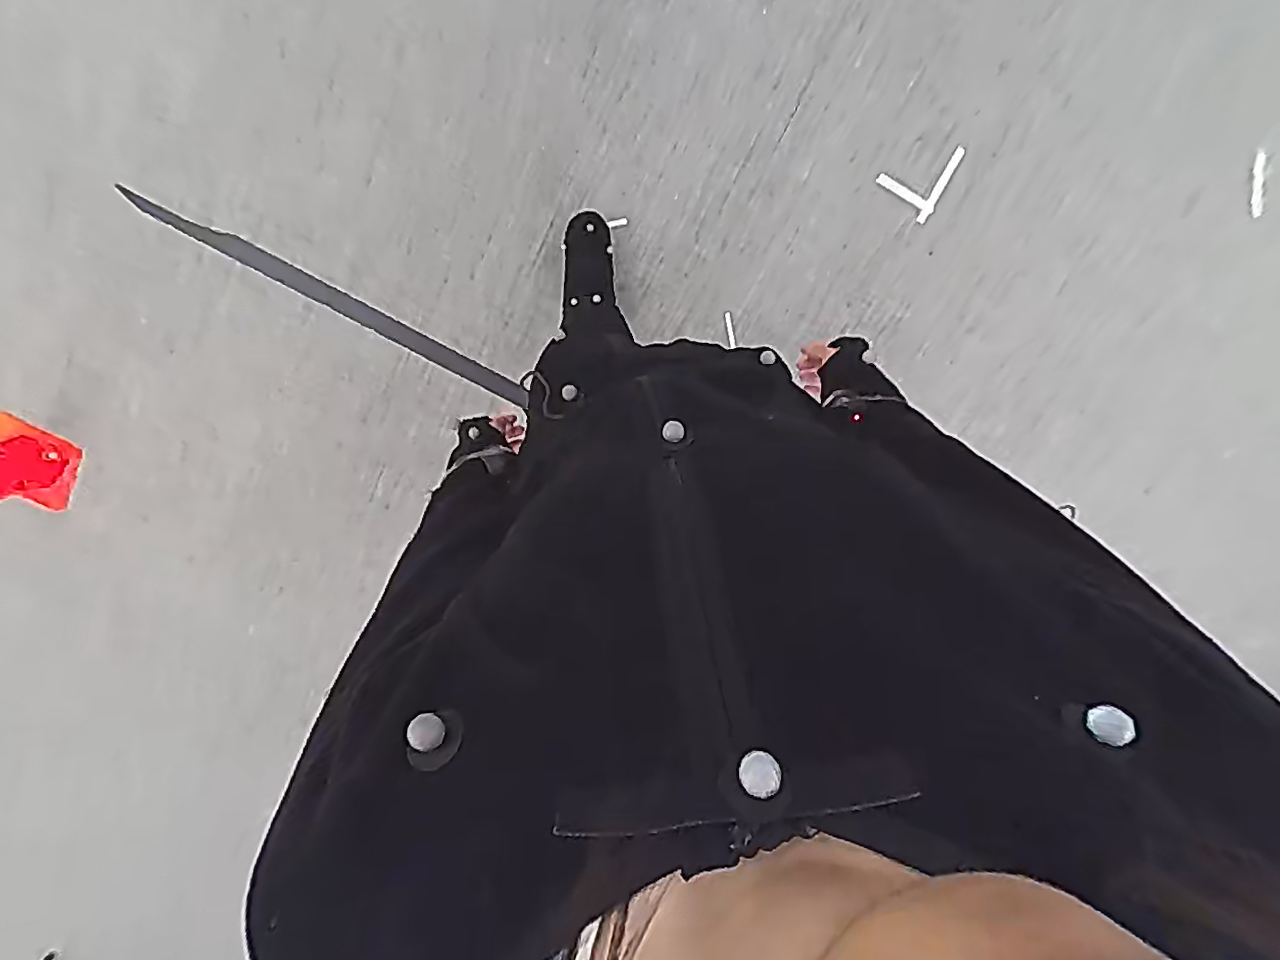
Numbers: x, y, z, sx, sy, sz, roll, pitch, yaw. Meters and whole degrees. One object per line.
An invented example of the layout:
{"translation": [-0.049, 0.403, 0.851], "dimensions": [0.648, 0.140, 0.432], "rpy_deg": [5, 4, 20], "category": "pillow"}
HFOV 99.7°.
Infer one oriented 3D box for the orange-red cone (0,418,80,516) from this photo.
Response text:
{"translation": [-1.483, 0.022, 1.151], "dimensions": [0.199, 0.360, 0.198], "rpy_deg": [30, 103, -12], "category": "orange-red cone"}
